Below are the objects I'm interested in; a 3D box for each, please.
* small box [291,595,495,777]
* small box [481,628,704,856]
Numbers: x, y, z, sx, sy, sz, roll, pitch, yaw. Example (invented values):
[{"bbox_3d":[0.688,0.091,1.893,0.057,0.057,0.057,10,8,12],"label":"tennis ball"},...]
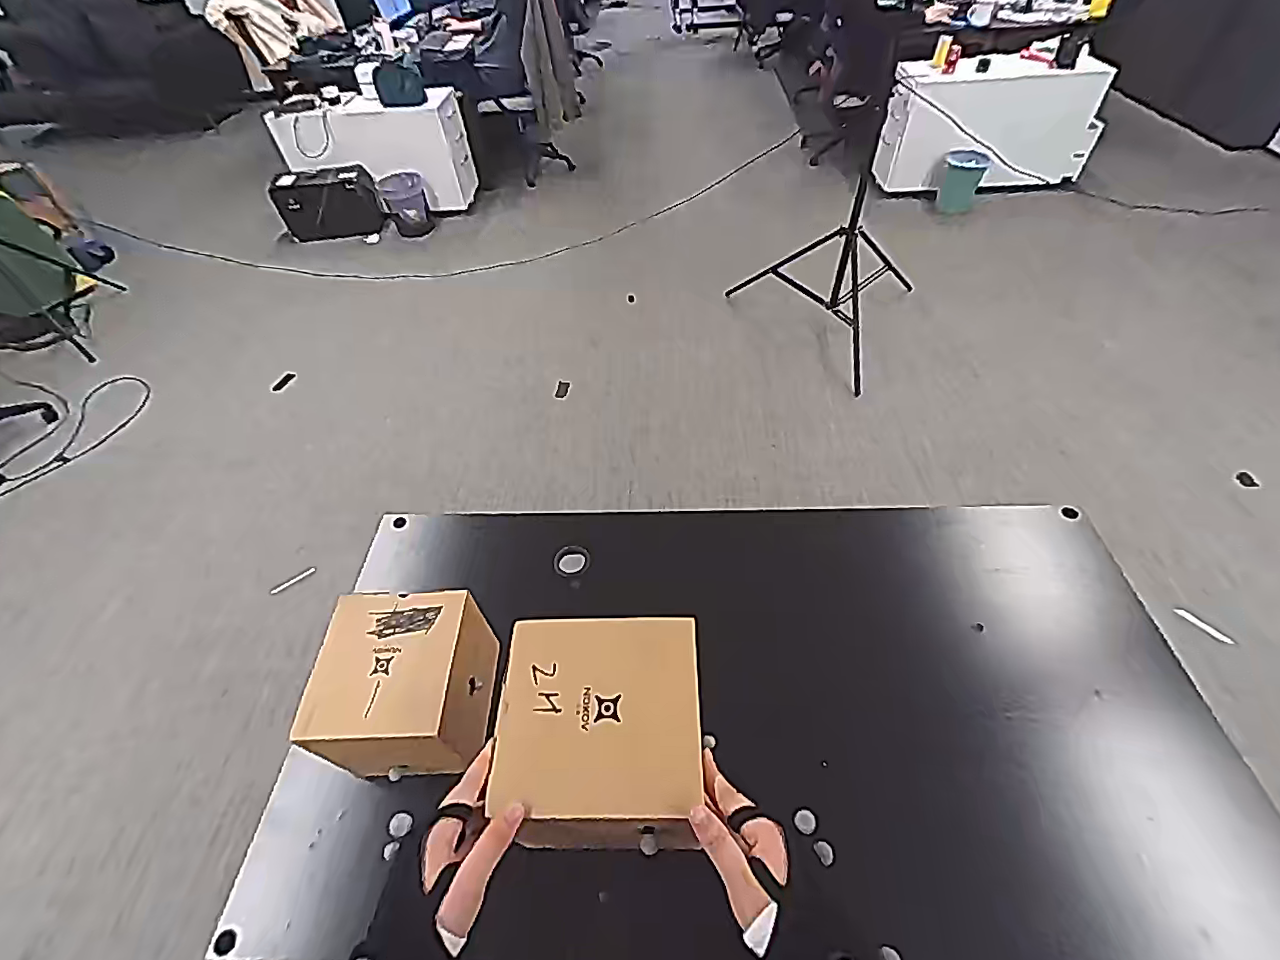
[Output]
[{"bbox_3d":[-0.295,0.266,0.695,0.168,0.176,0.179,-3,50,2],"label":"small box"},{"bbox_3d":[-0.032,0.257,0.528,0.179,0.176,0.168,-3,49,3],"label":"small box"}]
